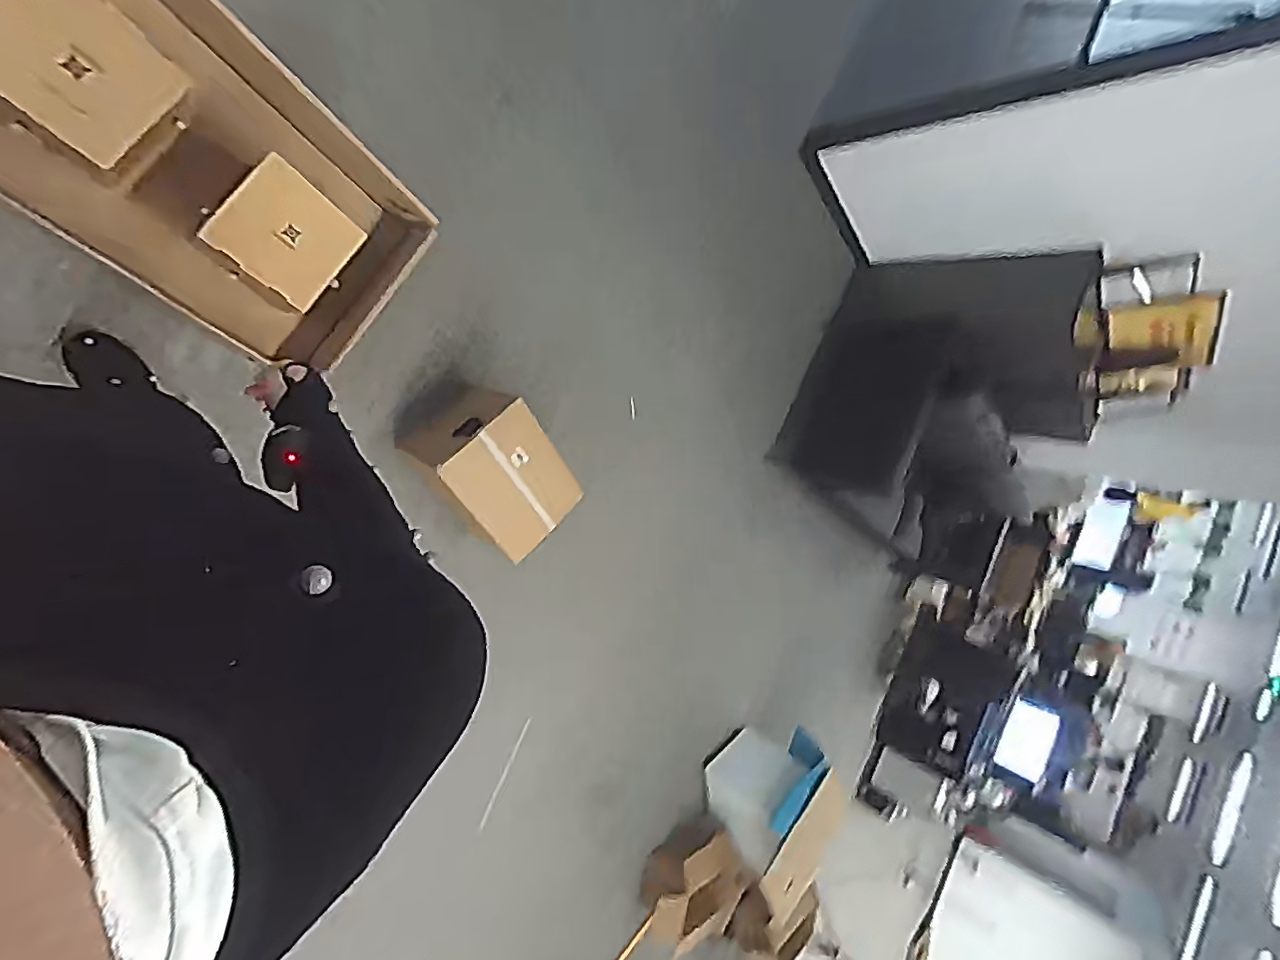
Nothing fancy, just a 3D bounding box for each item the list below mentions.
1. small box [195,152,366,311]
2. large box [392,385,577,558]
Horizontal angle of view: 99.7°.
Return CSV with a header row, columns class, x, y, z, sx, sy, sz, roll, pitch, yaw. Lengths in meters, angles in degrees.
class,x,y,z,sx,sy,sz,roll,pitch,yaw
small box,-0.612,-0.411,0.915,0.168,0.176,0.179,43,75,-43
large box,-0.473,-0.033,1.675,0.320,0.320,0.408,-47,130,-23
